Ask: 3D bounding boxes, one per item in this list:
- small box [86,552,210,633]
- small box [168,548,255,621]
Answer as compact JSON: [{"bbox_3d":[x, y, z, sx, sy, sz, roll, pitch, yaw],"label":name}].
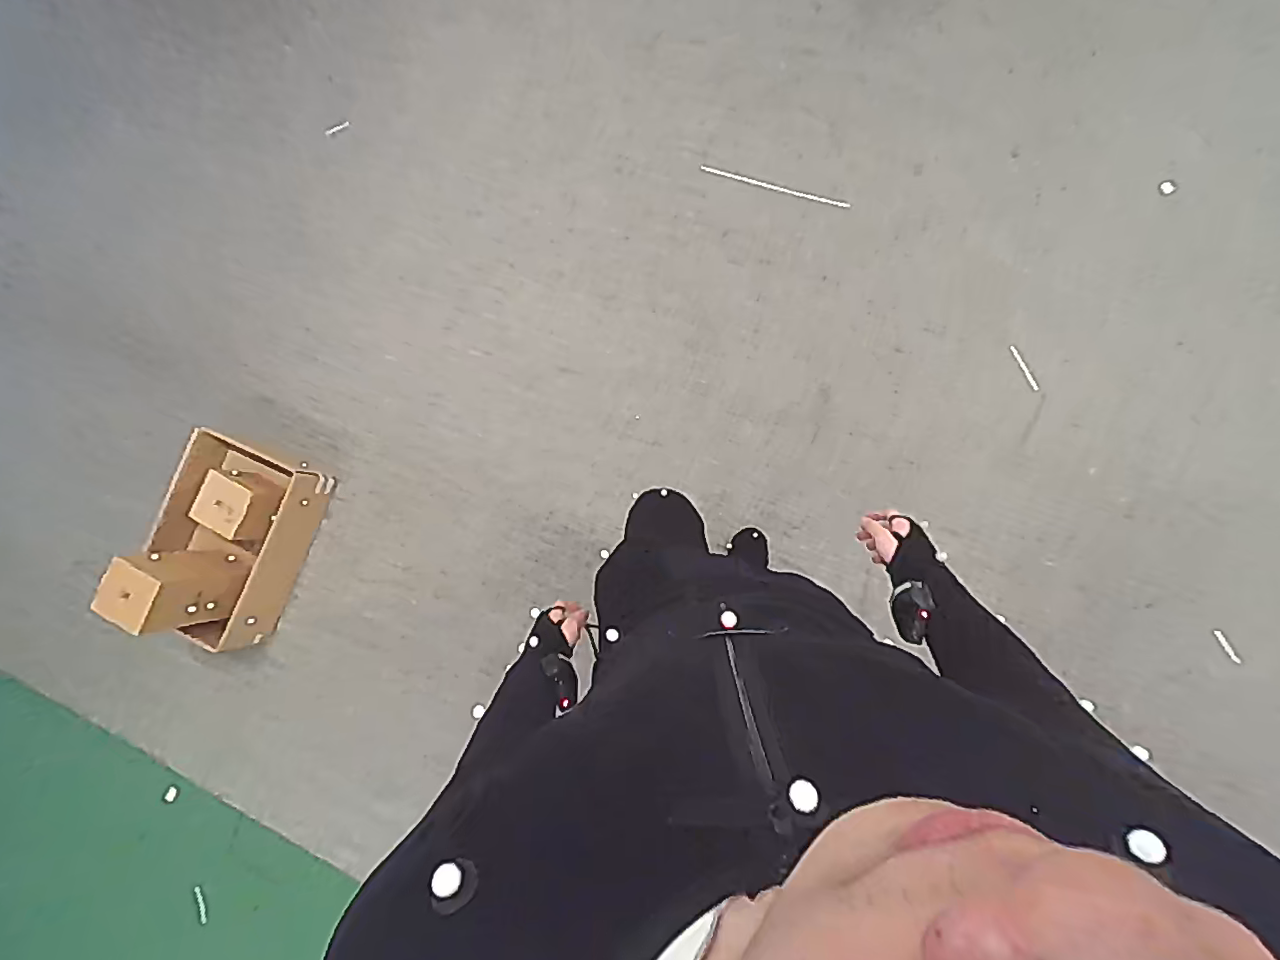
[{"bbox_3d":[-1.407,0.315,1.556,0.179,0.176,0.168,25,90,9],"label":"small box"},{"bbox_3d":[-1.386,0.325,1.717,0.179,0.176,0.168,25,90,10],"label":"small box"}]
